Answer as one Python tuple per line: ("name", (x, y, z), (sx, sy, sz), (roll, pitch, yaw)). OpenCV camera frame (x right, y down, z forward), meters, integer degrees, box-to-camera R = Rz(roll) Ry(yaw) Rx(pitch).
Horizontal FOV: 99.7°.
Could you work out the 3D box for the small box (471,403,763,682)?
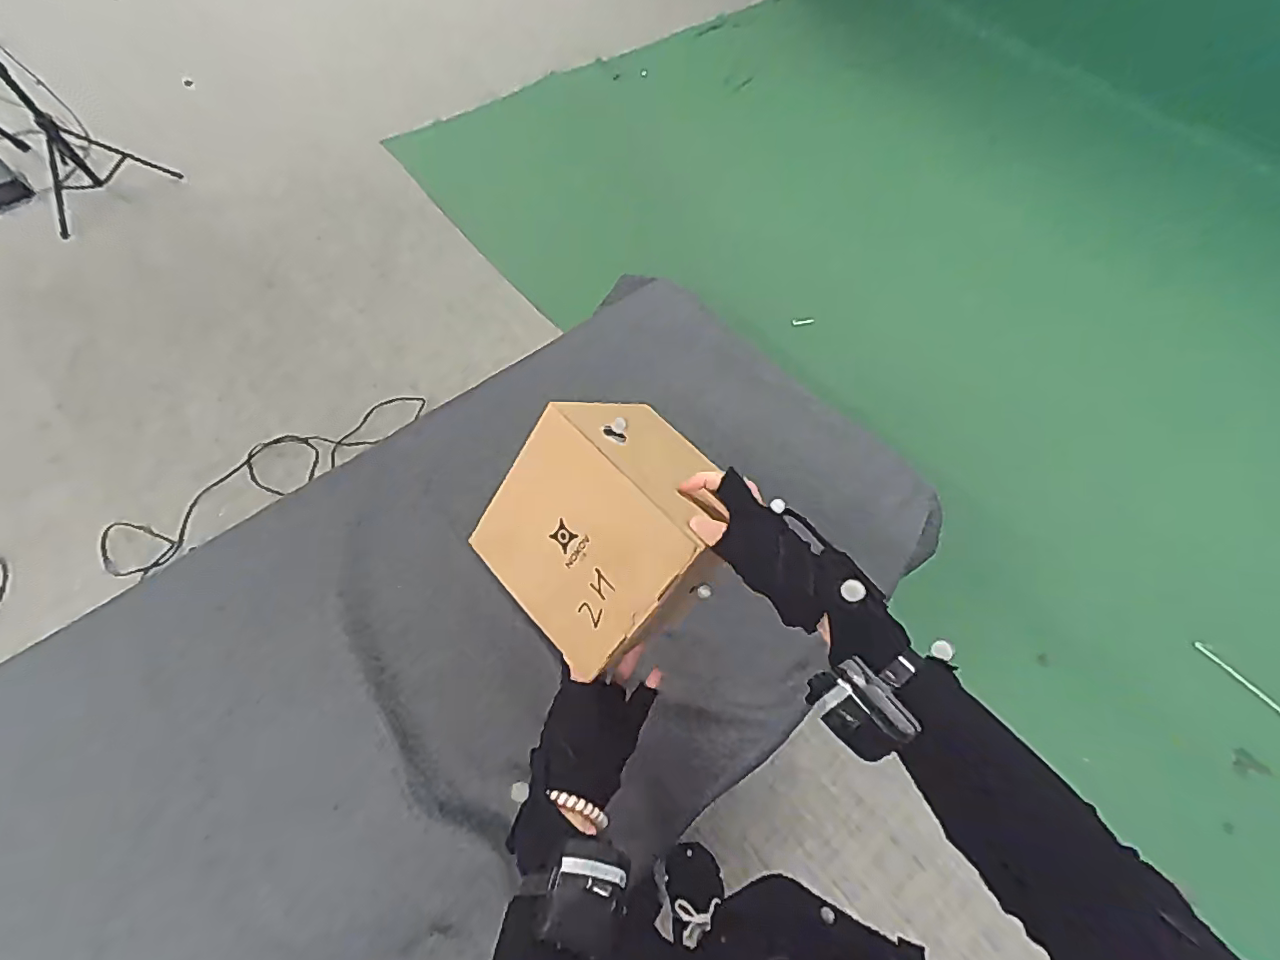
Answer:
("small box", (-0.016, 0.046, 0.511), (0.179, 0.168, 0.176), (44, 25, 18))
